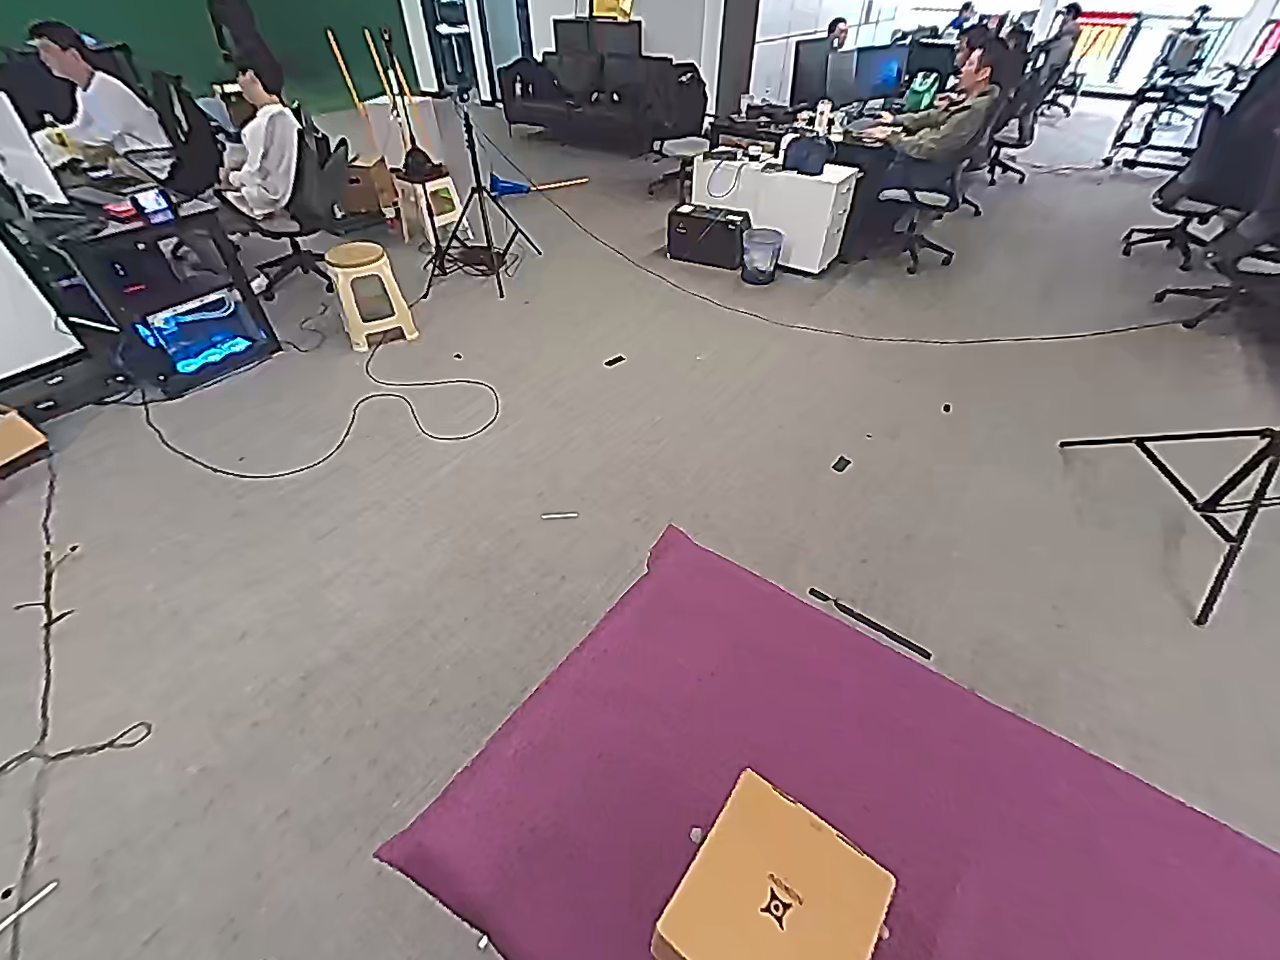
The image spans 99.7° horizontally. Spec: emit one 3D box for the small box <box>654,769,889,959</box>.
[{"bbox_3d":[0.129,0.457,0.567,0.168,0.176,0.179,27,48,26],"label":"small box"}]
